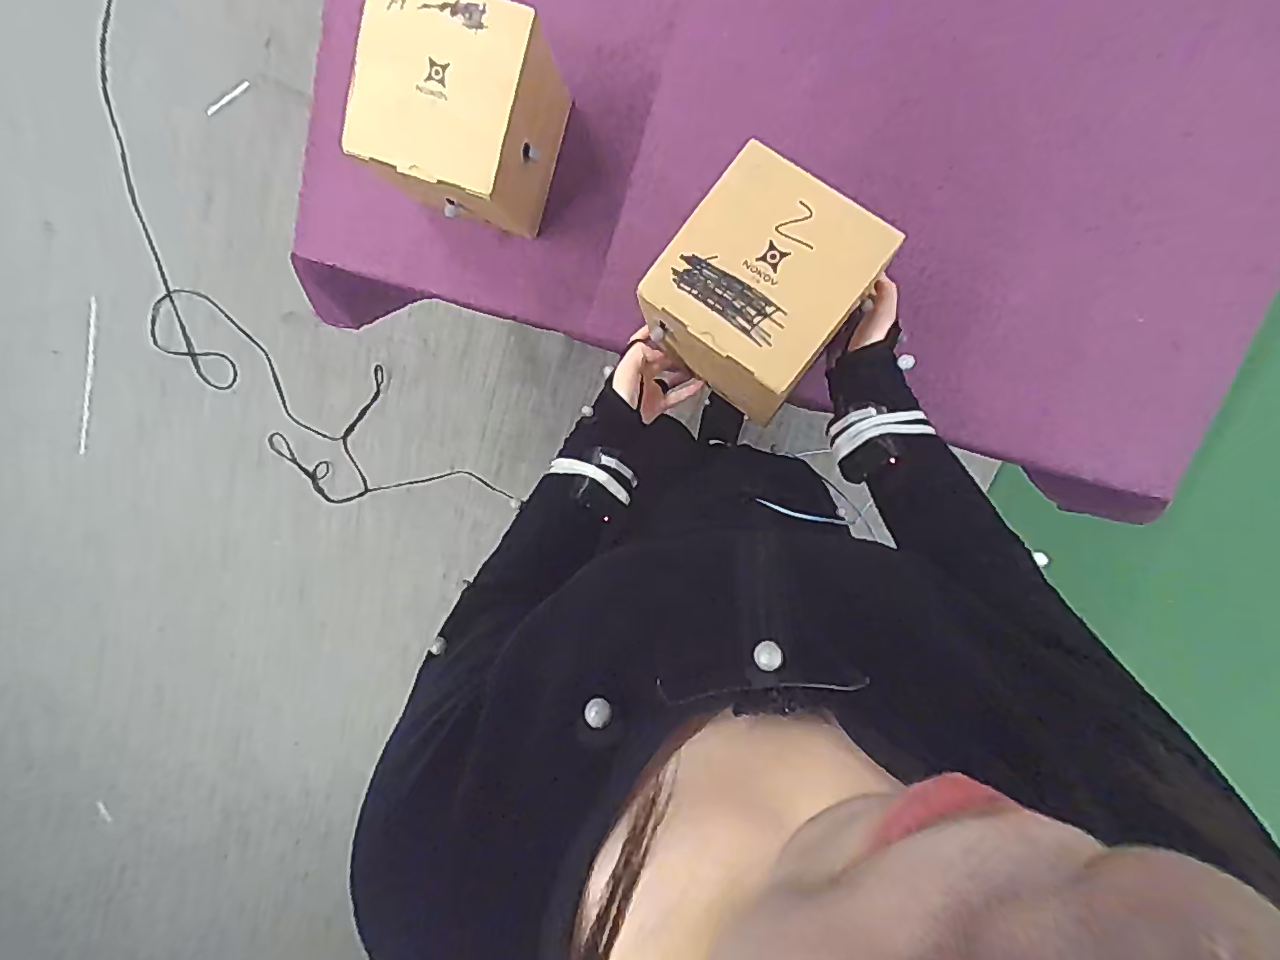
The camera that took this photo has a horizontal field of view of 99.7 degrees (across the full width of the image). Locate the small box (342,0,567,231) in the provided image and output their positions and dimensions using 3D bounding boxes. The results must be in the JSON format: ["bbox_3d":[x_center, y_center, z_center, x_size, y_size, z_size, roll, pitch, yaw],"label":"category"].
[{"bbox_3d":[-0.193,-0.406,0.607,0.168,0.176,0.179,20,103,0],"label":"small box"}]
